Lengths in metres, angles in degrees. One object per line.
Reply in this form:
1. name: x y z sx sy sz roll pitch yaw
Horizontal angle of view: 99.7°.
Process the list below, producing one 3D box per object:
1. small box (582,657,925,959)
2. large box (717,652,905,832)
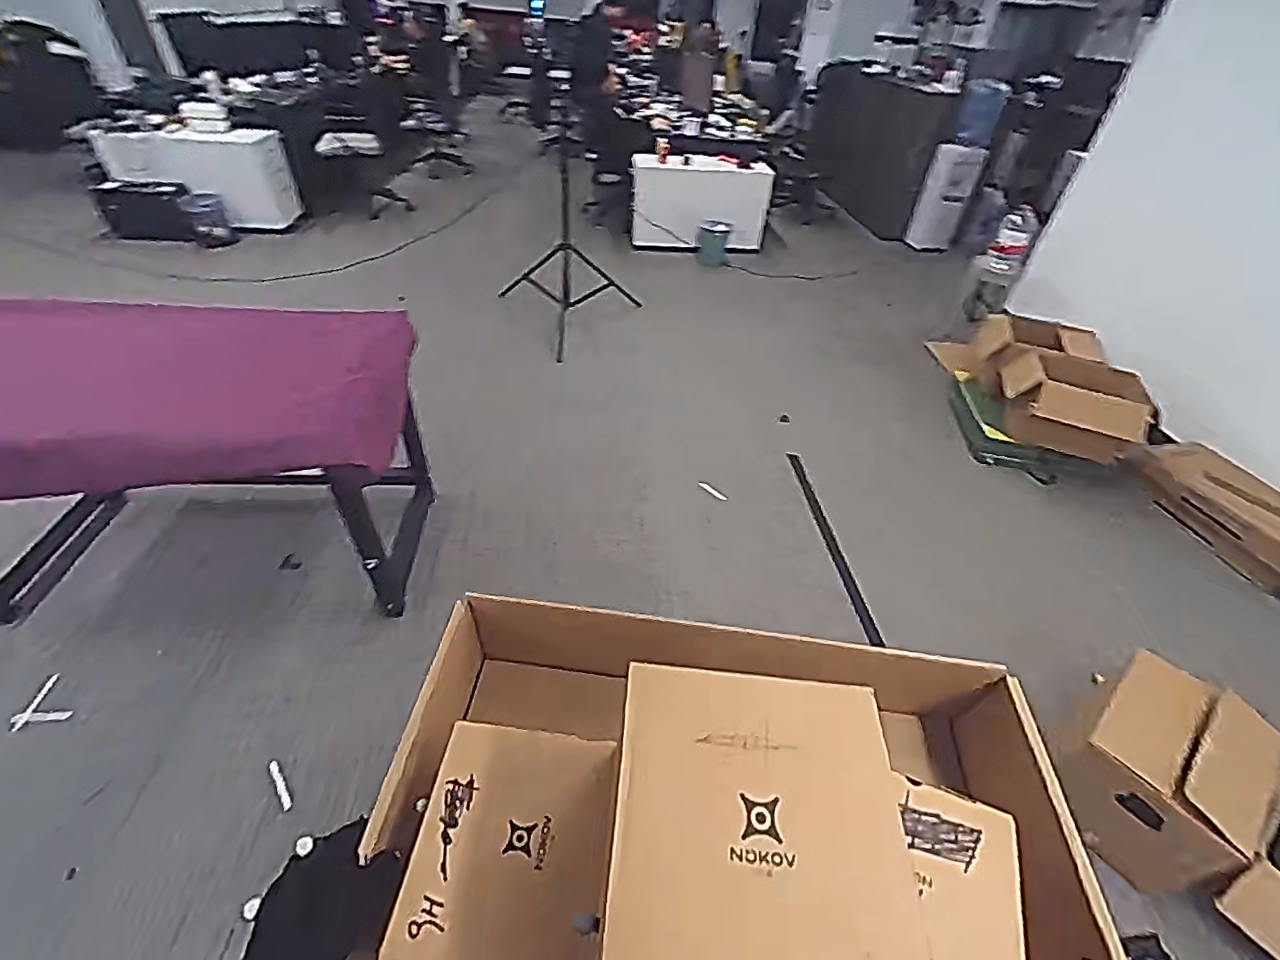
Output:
1. small box: 0.053 0.240 0.352 0.168 0.176 0.179 6 45 -2
2. large box: 0.356 0.688 1.325 0.320 0.320 0.408 -2 43 -7
